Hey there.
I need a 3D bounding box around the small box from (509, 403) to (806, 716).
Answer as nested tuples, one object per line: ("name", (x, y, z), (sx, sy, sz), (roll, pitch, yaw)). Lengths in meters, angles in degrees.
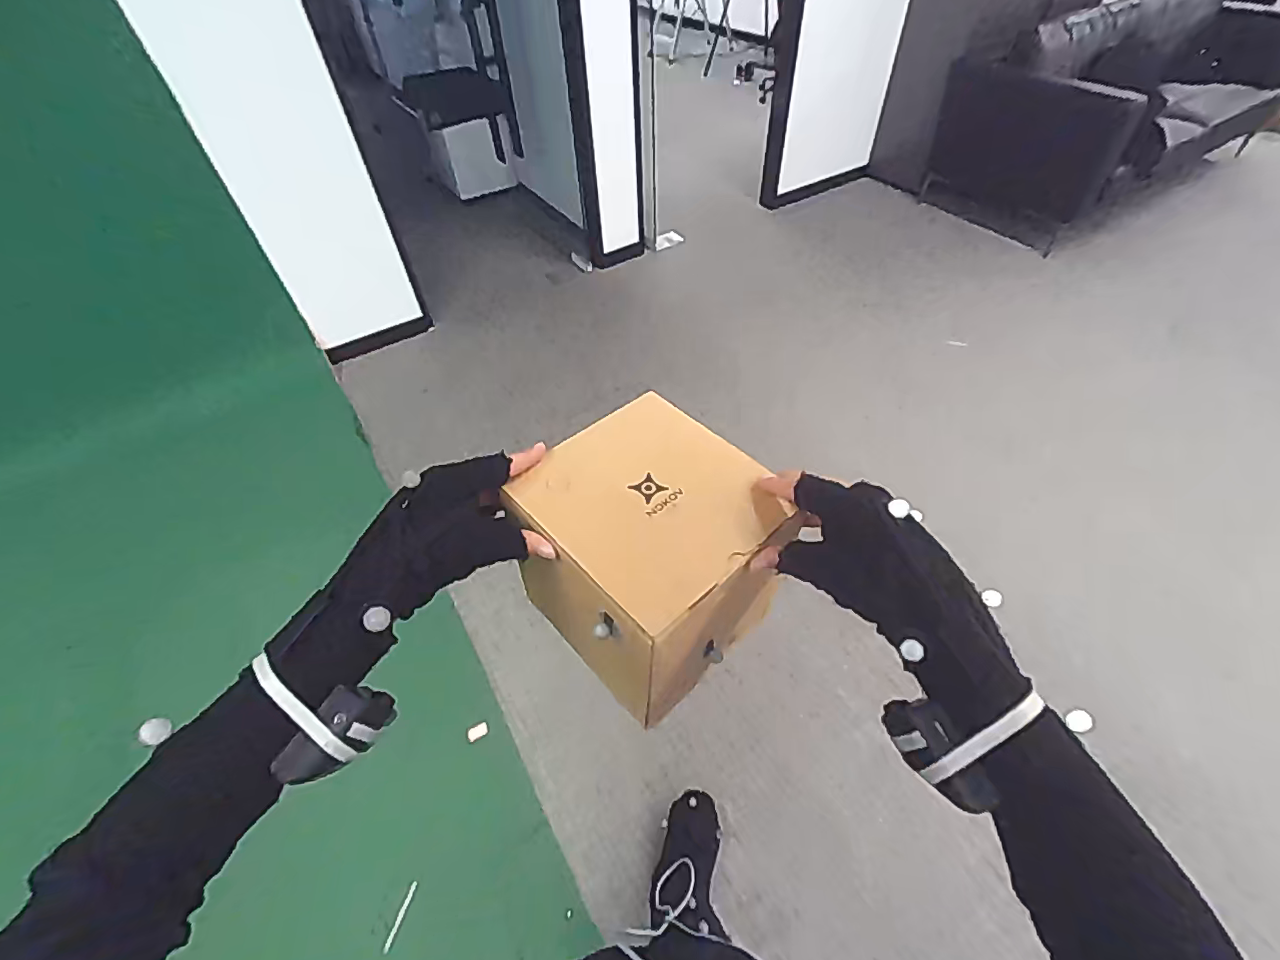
("small box", (0.008, 0.068, 0.477), (0.168, 0.176, 0.179), (-33, 57, -28))
